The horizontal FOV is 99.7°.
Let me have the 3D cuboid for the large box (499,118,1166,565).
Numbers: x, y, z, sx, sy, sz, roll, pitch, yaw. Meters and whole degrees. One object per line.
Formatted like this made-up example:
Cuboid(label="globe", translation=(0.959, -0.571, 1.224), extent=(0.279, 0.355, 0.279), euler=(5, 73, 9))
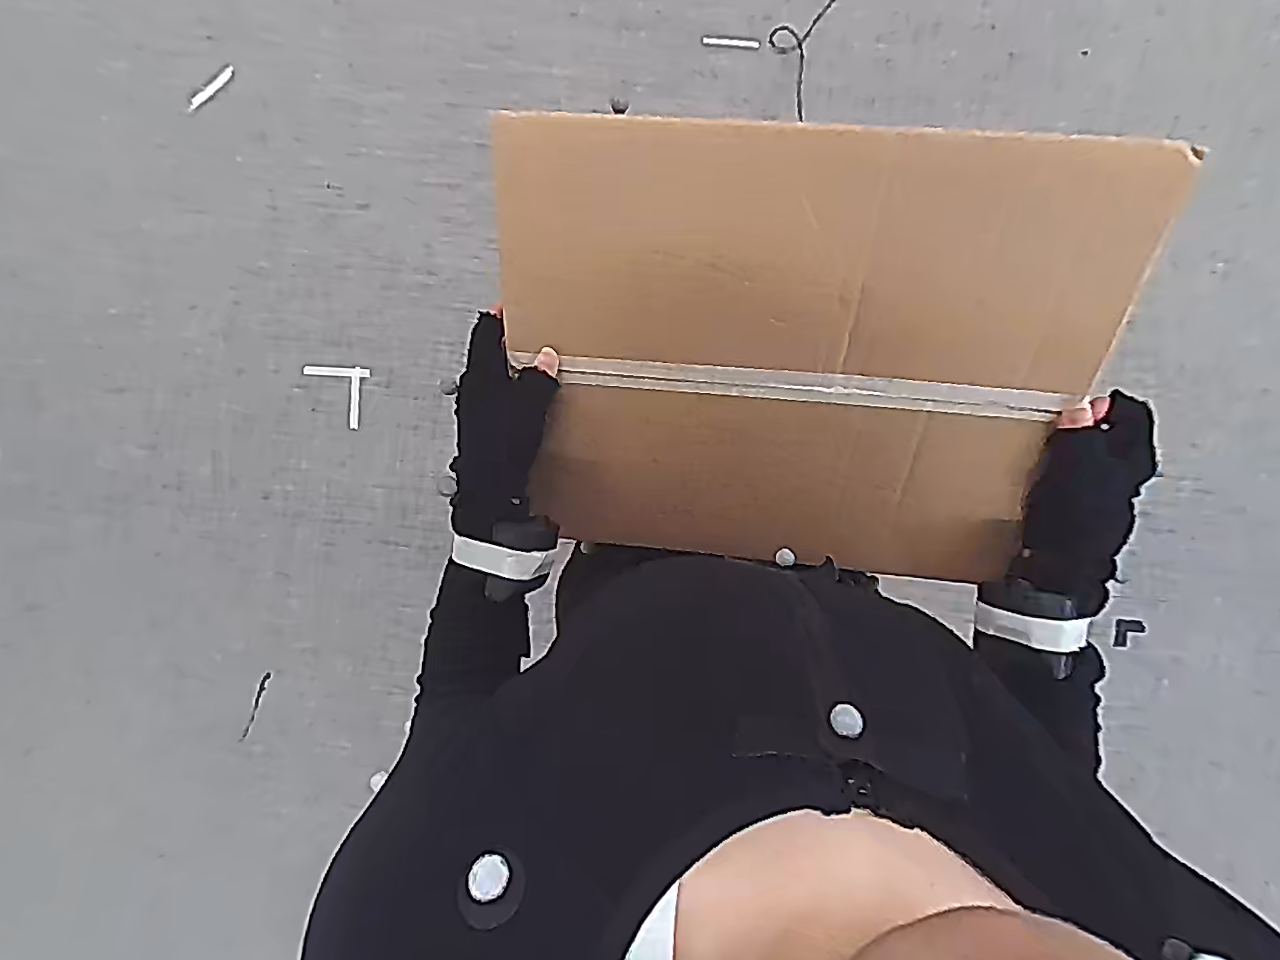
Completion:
Cuboid(label="large box", translation=(0.117, -0.149, 0.528), extent=(0.408, 0.320, 0.320), euler=(6, 121, 5))
